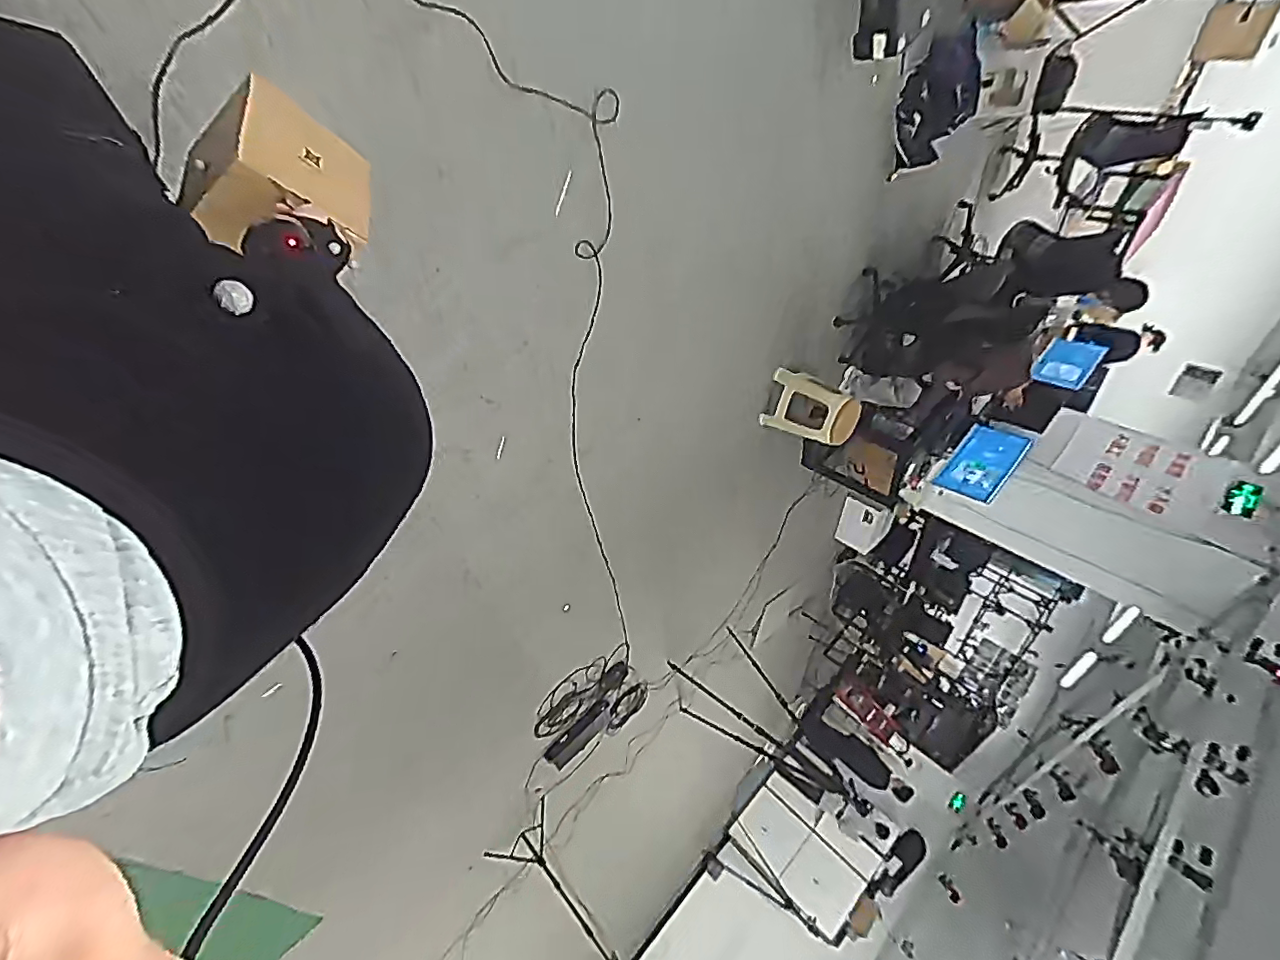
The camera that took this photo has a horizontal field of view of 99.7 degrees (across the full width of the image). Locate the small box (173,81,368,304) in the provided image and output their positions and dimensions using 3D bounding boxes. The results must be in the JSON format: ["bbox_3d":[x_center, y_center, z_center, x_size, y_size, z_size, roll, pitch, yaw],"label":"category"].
[{"bbox_3d":[-0.505,-0.382,0.750,0.176,0.179,0.168,-25,153,23],"label":"small box"}]
